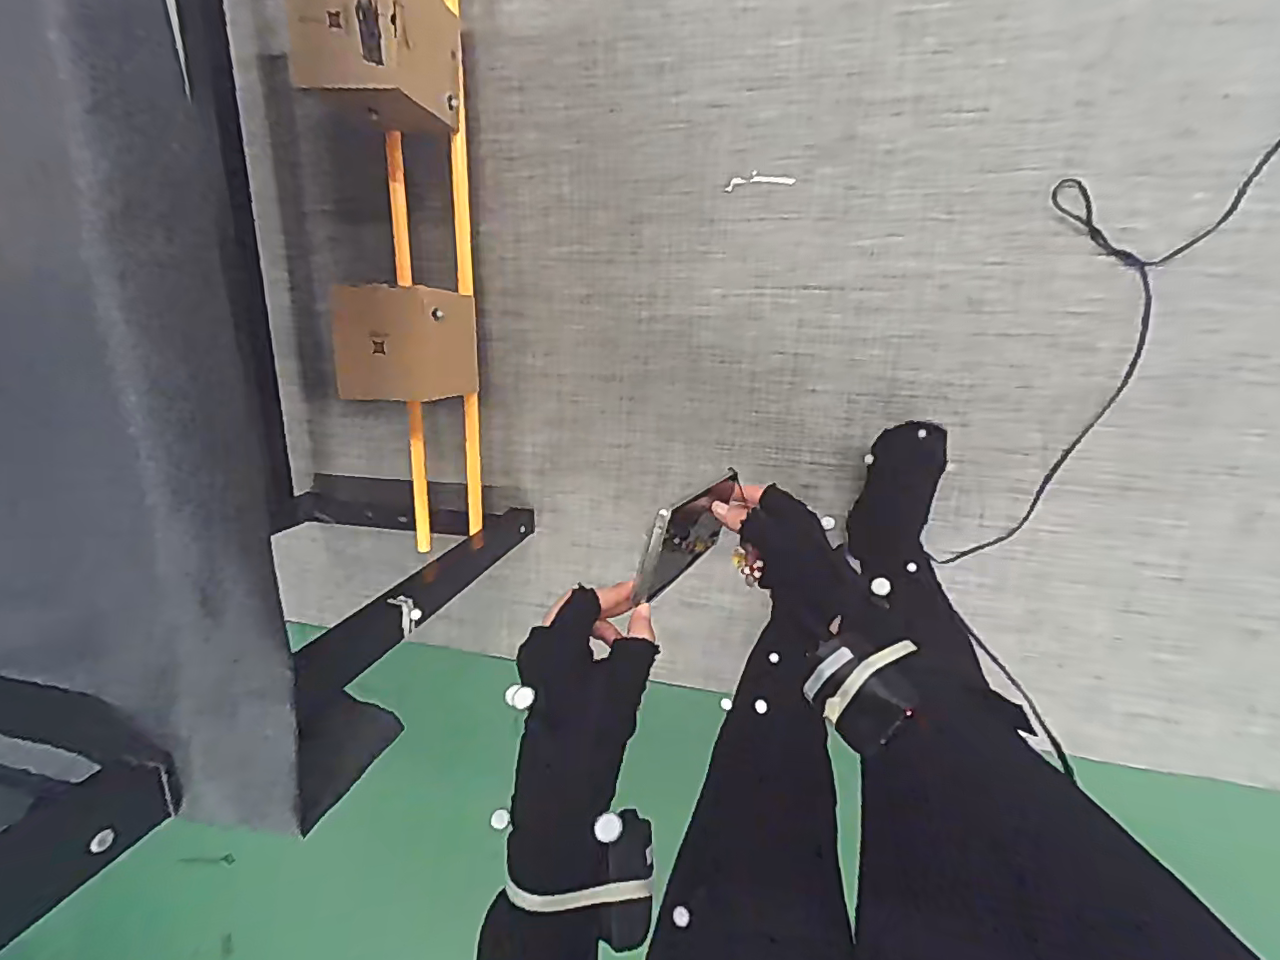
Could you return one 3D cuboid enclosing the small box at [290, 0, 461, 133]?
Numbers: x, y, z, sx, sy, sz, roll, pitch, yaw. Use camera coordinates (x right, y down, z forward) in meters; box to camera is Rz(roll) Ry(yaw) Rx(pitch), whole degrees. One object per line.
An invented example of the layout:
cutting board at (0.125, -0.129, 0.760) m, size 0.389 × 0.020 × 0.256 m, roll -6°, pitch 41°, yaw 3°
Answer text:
small box at (-0.388, -0.649, 0.819) m, size 0.179 × 0.176 × 0.168 m, roll 8°, pitch 105°, yaw 11°
